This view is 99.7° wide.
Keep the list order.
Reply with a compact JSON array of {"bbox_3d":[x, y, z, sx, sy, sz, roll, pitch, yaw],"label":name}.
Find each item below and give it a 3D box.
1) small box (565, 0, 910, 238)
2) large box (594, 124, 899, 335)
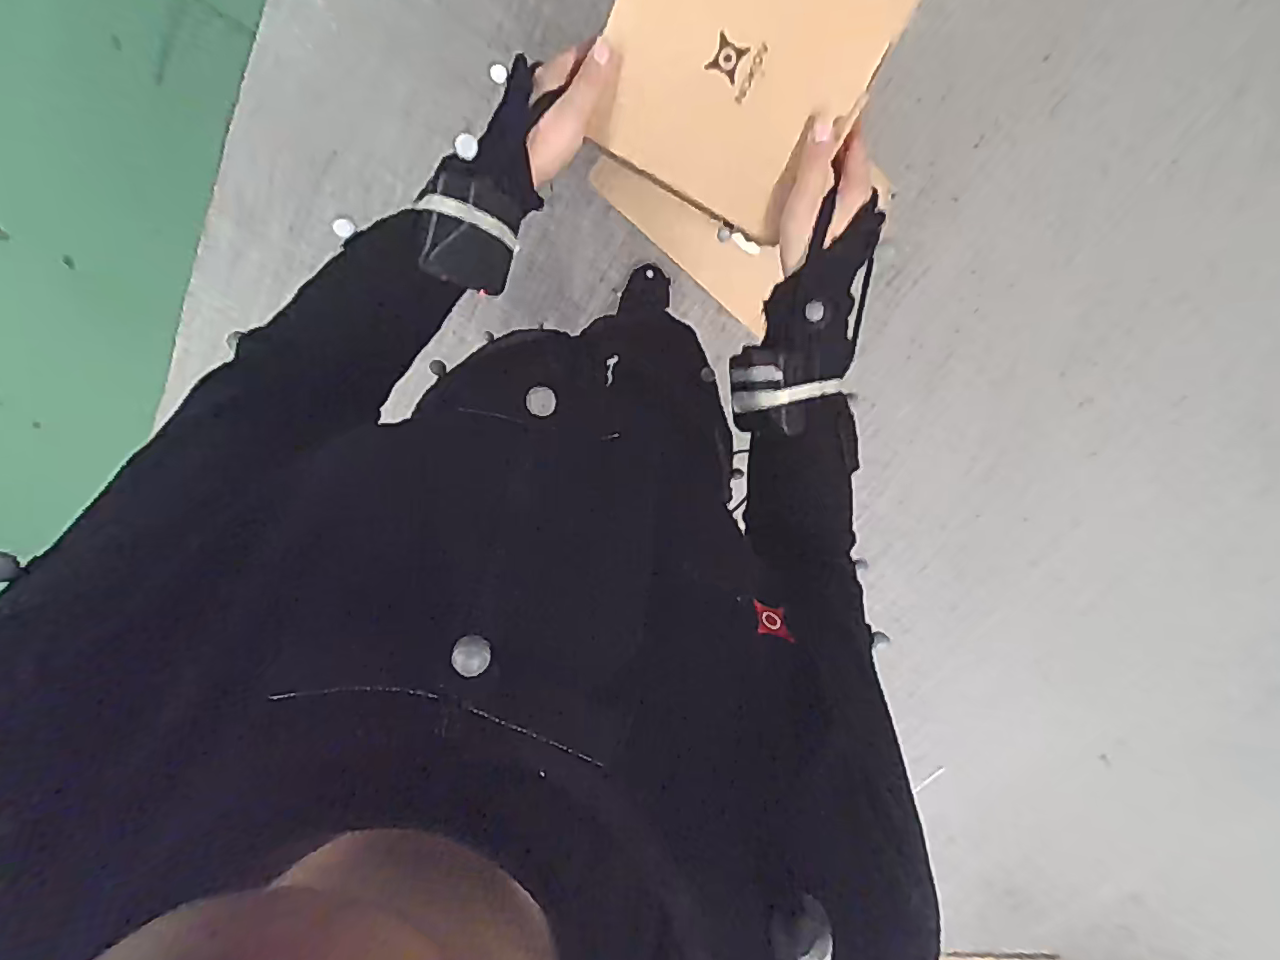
[{"bbox_3d":[0.069,-0.307,0.427,0.179,0.176,0.168,27,115,-4],"label":"small box"},{"bbox_3d":[0.175,-0.537,1.011,0.408,0.320,0.320,38,111,-12],"label":"large box"}]
